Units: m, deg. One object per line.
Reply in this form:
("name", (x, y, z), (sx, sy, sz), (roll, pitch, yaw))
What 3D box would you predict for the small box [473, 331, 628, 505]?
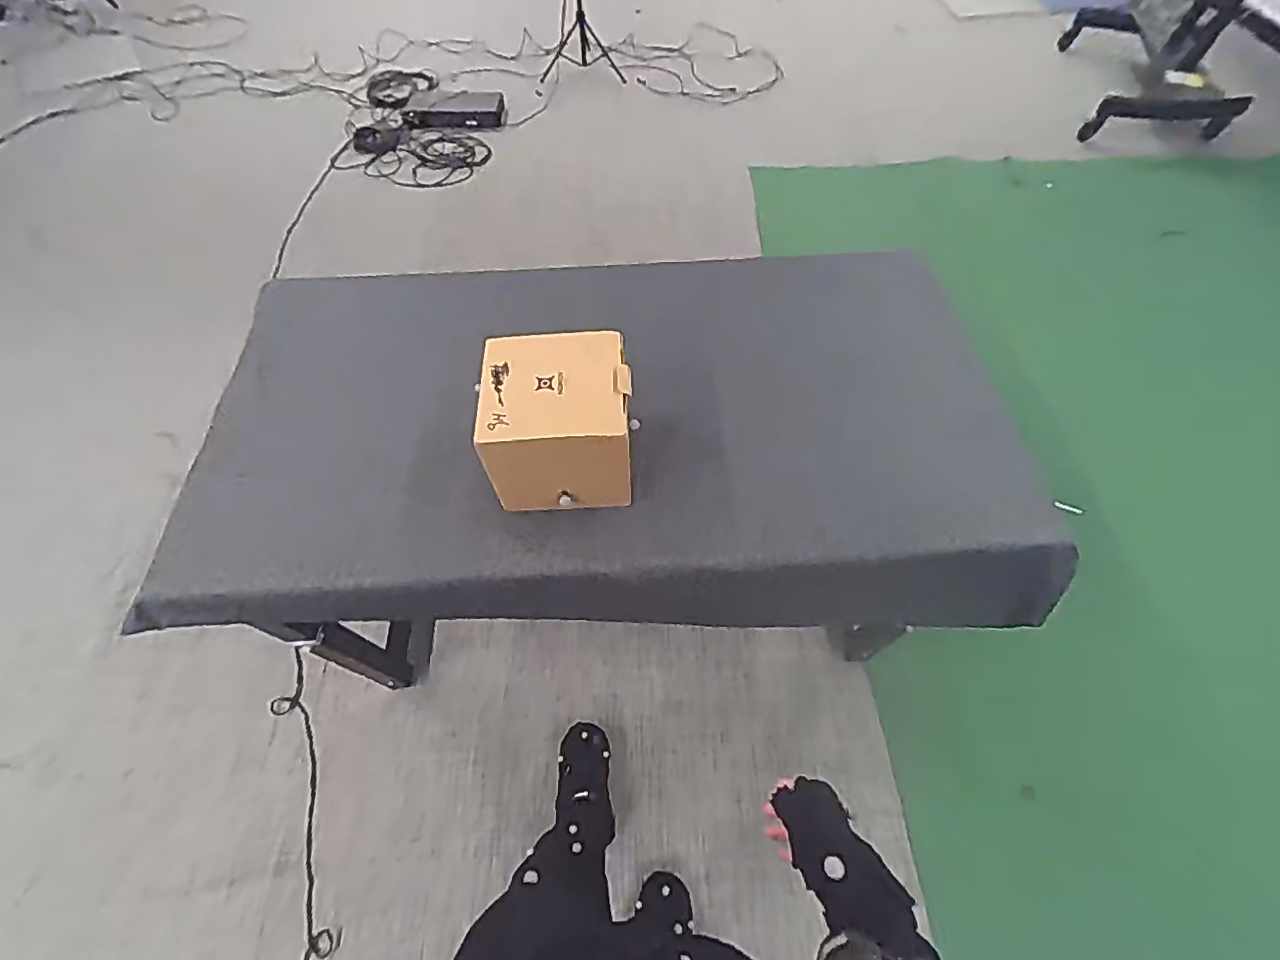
("small box", (-0.105, -0.076, 0.719), (0.179, 0.176, 0.168), (-3, 59, -1))
